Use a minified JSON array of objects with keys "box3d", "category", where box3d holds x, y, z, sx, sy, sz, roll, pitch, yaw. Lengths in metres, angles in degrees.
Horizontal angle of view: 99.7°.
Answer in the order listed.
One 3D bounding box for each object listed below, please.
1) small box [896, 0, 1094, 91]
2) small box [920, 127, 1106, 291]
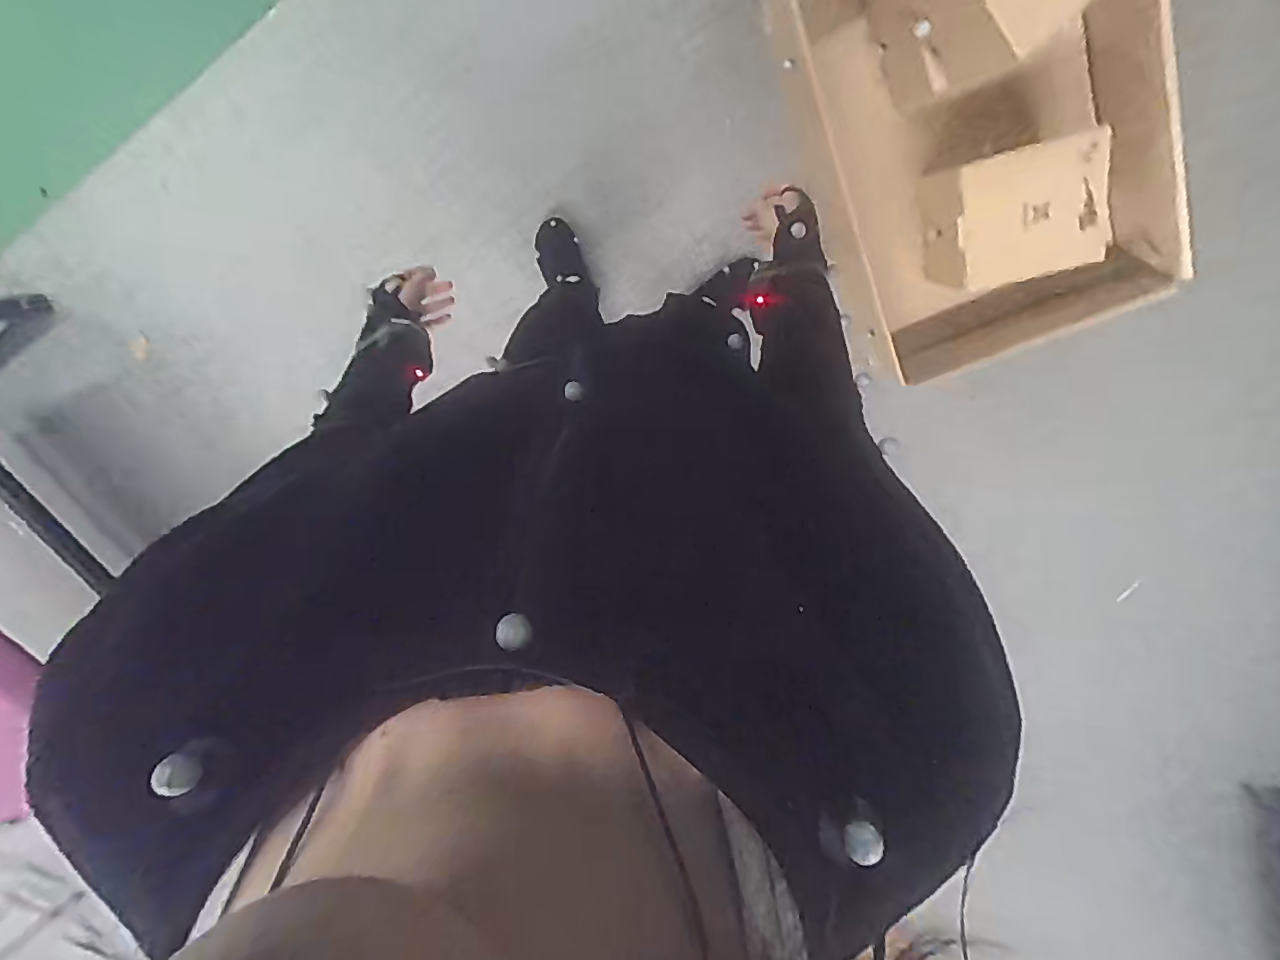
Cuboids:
[{"box3d":[0.390,-0.548,0.550,0.179,0.176,0.168,-37,105,22],"category":"small box"},{"box3d":[0.527,-0.387,0.793,0.179,0.176,0.168,-10,114,12],"category":"small box"}]
